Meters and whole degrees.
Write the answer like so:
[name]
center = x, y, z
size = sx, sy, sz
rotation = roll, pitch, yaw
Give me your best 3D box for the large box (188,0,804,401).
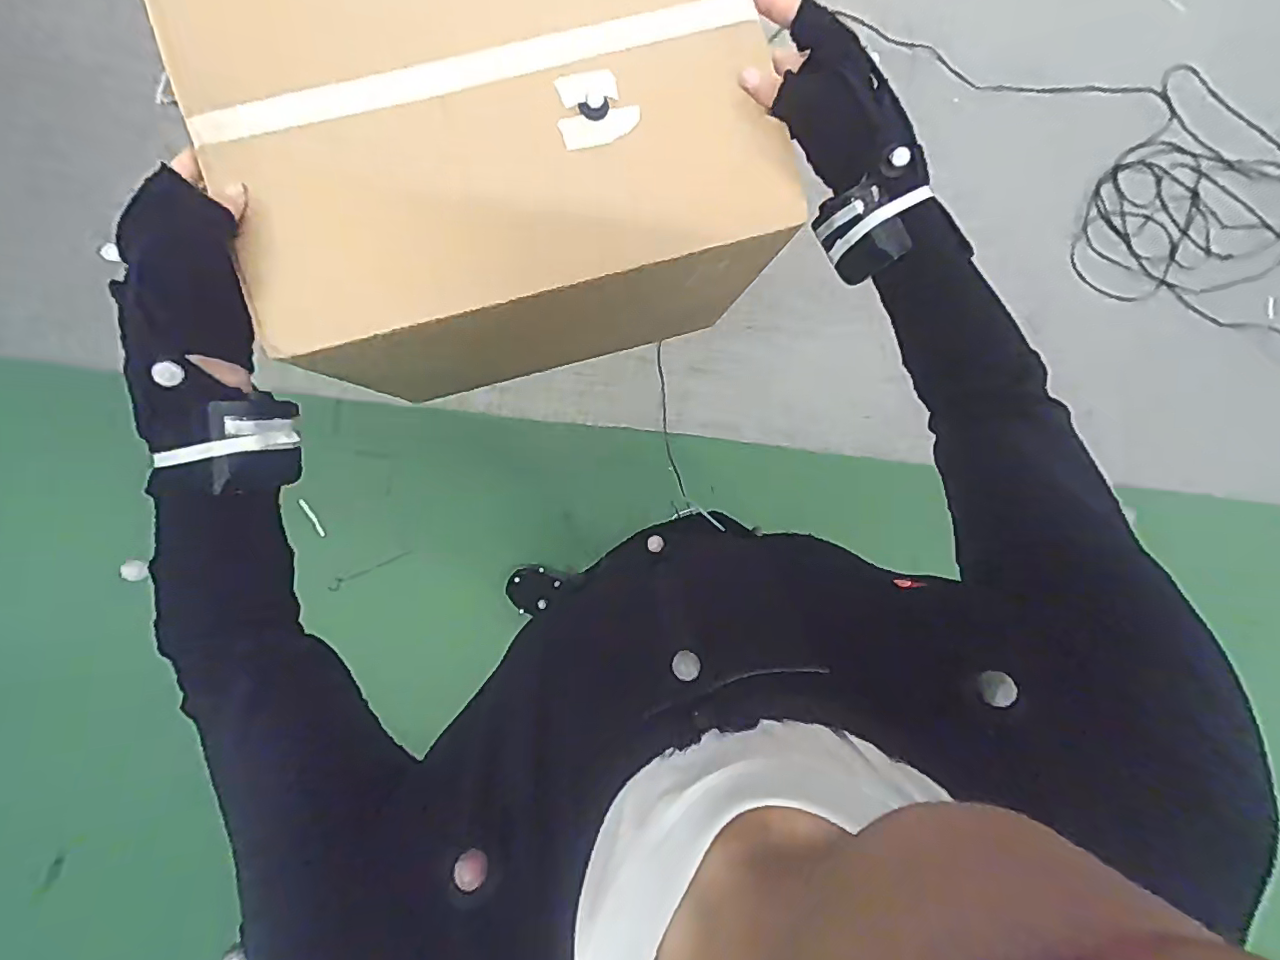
[large box]
center = -0.115, -0.296, 0.548
size = 0.408, 0.320, 0.320
rotation = -16, 93, -4
